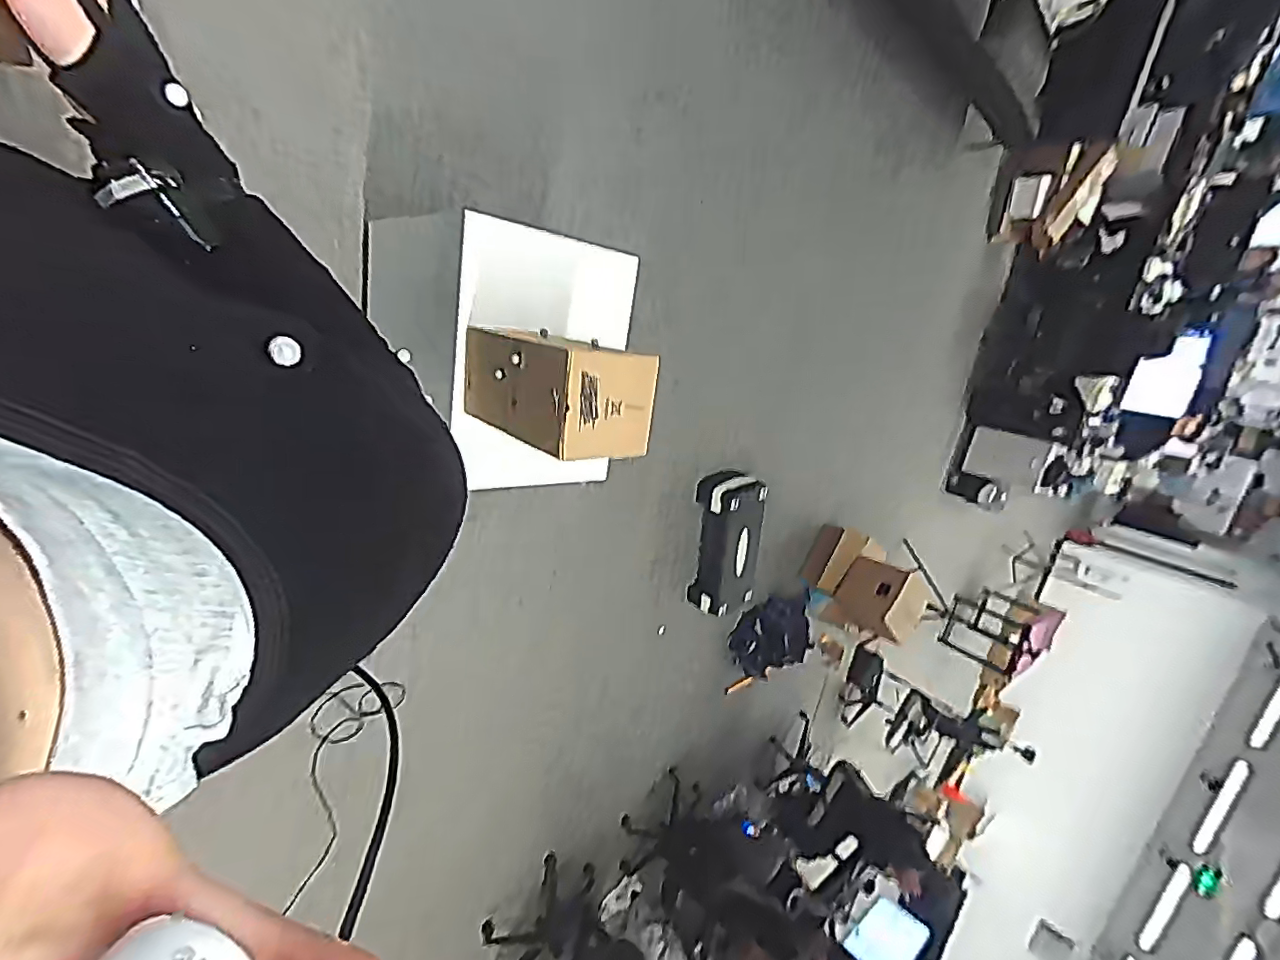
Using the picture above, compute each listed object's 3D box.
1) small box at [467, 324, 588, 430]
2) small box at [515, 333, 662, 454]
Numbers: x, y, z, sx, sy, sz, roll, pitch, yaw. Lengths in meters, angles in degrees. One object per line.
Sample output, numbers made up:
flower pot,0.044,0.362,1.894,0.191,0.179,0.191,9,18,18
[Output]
small box,-0.200,-0.196,1.003,0.179,0.176,0.168,-11,114,-42
small box,-0.090,-0.147,0.890,0.179,0.176,0.168,-10,114,-42
